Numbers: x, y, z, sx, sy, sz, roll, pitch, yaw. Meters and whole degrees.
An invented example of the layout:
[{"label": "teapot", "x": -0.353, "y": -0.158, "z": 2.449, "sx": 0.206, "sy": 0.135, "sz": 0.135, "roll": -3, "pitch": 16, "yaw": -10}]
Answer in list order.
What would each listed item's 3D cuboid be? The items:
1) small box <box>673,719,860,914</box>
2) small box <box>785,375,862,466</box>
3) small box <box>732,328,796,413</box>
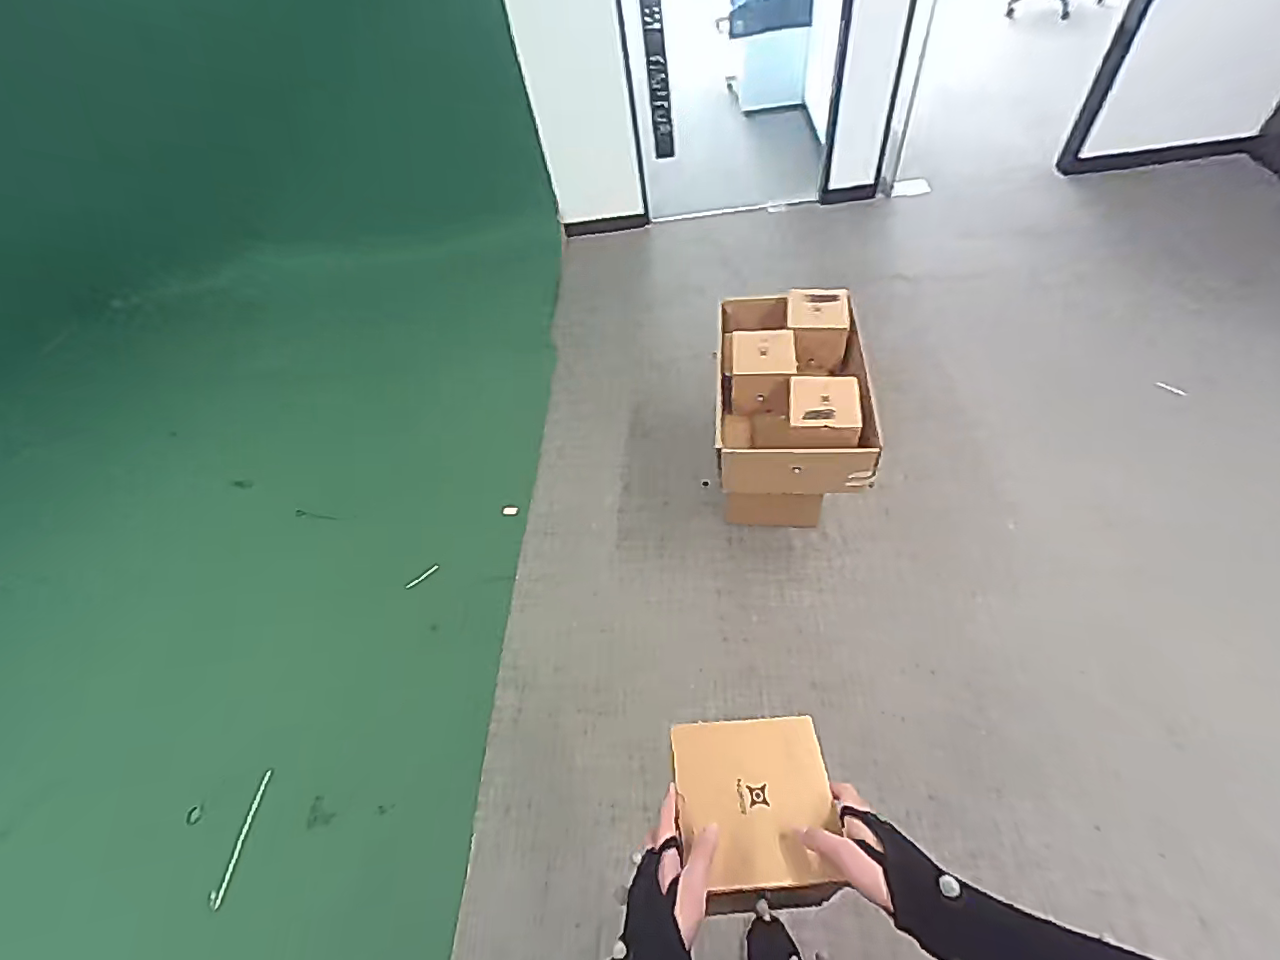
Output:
[{"label": "small box", "x": 0.133, "y": 0.403, "z": 0.647, "sx": 0.179, "sy": 0.176, "sz": 0.168, "roll": -4, "pitch": 45, "yaw": 0}, {"label": "small box", "x": 0.467, "y": -0.150, "z": 1.390, "sx": 0.168, "sy": 0.176, "sz": 0.179, "roll": 3, "pitch": 56, "yaw": 12}, {"label": "small box", "x": 0.345, "y": -0.303, "z": 1.520, "sx": 0.168, "sy": 0.176, "sz": 0.179, "roll": 1, "pitch": 55, "yaw": 9}]
